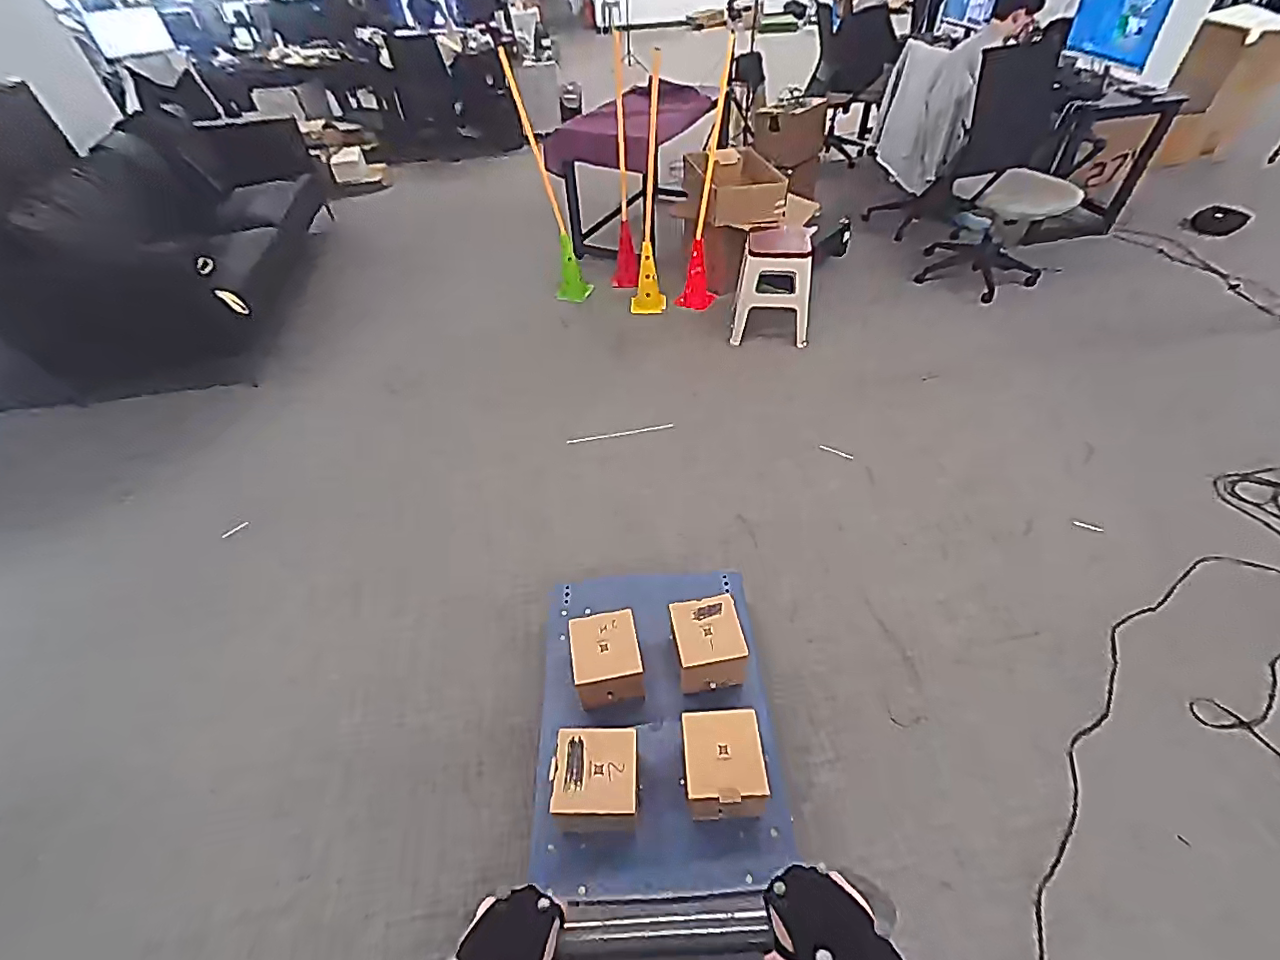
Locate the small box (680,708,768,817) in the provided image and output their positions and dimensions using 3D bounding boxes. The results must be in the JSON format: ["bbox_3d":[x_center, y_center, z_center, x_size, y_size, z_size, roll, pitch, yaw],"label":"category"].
[{"bbox_3d":[0.179,0.634,1.212,0.168,0.176,0.179,-3,47,0],"label":"small box"}]

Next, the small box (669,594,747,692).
[{"bbox_3d":[0.168,0.426,1.407,0.168,0.176,0.179,-9,48,-4],"label":"small box"}]

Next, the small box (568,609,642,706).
[{"bbox_3d":[-0.088,0.461,1.388,0.168,0.176,0.179,-8,47,-6],"label":"small box"}]
